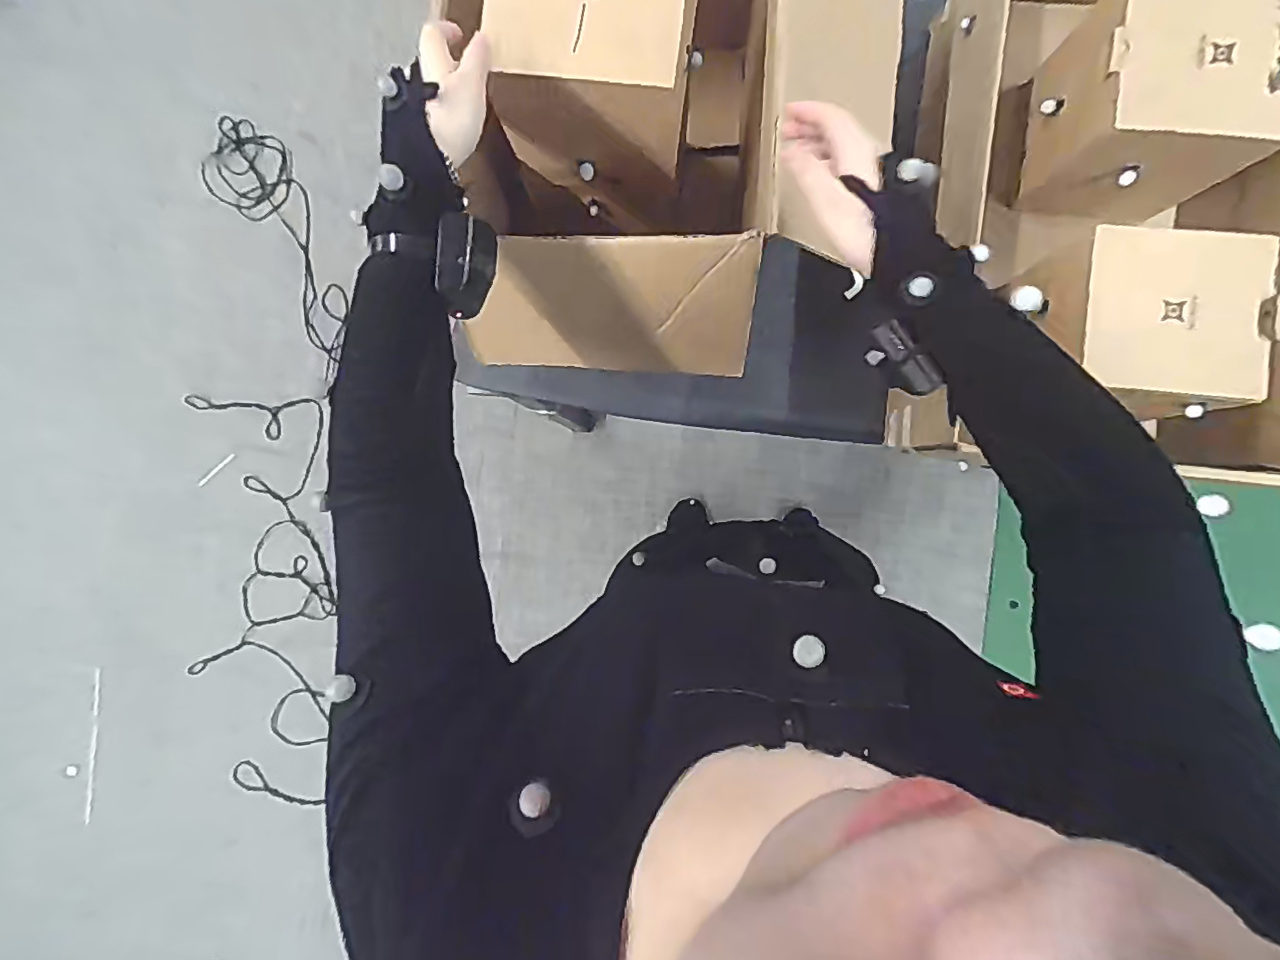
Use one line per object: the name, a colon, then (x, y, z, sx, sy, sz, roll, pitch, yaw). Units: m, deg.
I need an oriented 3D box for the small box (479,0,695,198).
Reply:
small box: (-0.038, -0.409, 0.522, 0.168, 0.176, 0.179, 8, 92, 3)
